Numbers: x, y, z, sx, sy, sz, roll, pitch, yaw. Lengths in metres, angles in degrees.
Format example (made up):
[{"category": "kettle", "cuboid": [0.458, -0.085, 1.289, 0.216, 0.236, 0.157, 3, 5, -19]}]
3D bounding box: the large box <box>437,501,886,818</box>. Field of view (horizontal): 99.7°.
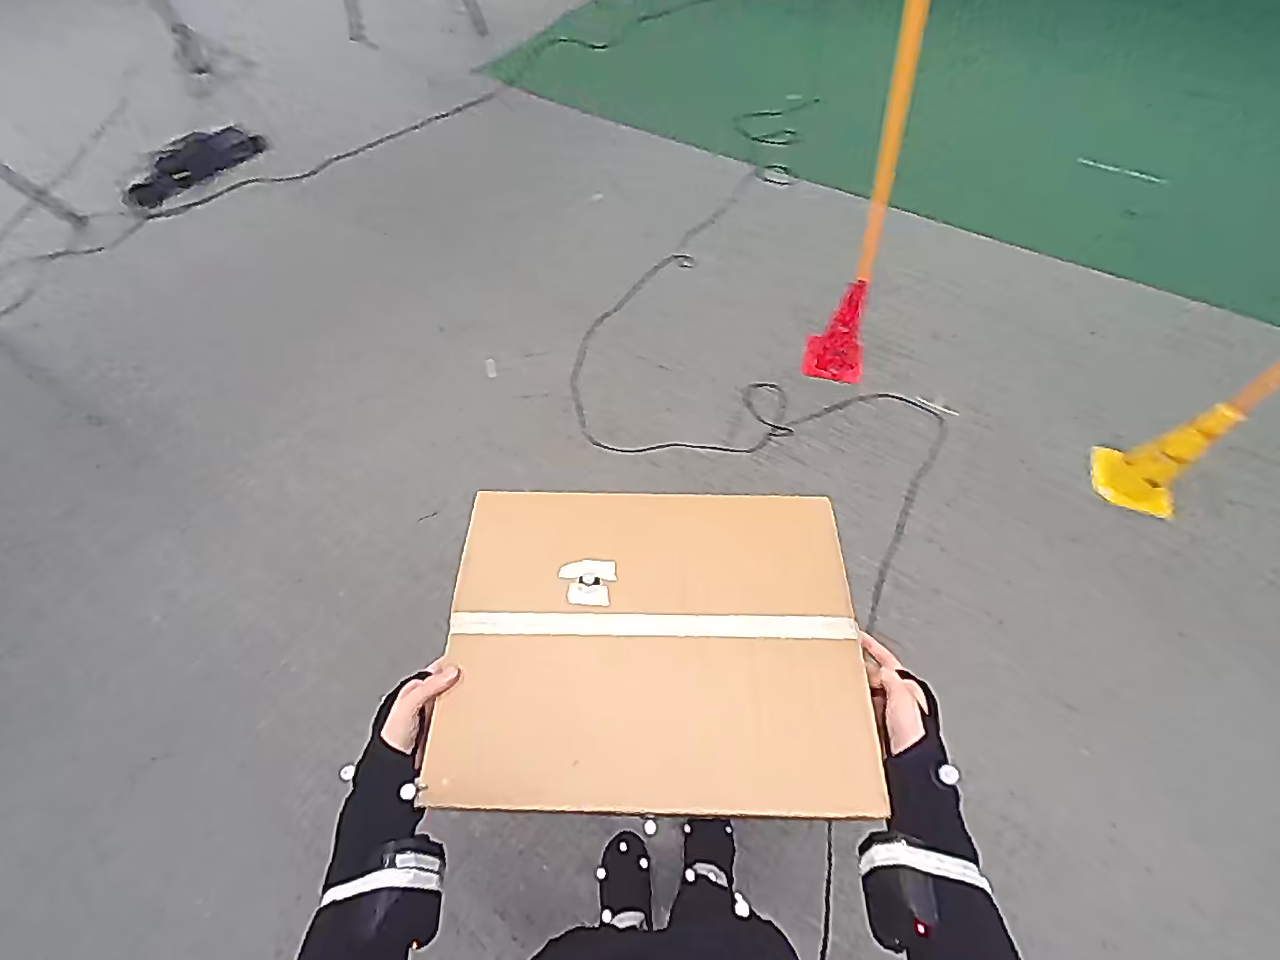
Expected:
[{"category": "large box", "cuboid": [0.026, 0.234, 0.678, 0.408, 0.320, 0.320, 1, 57, 3]}]
